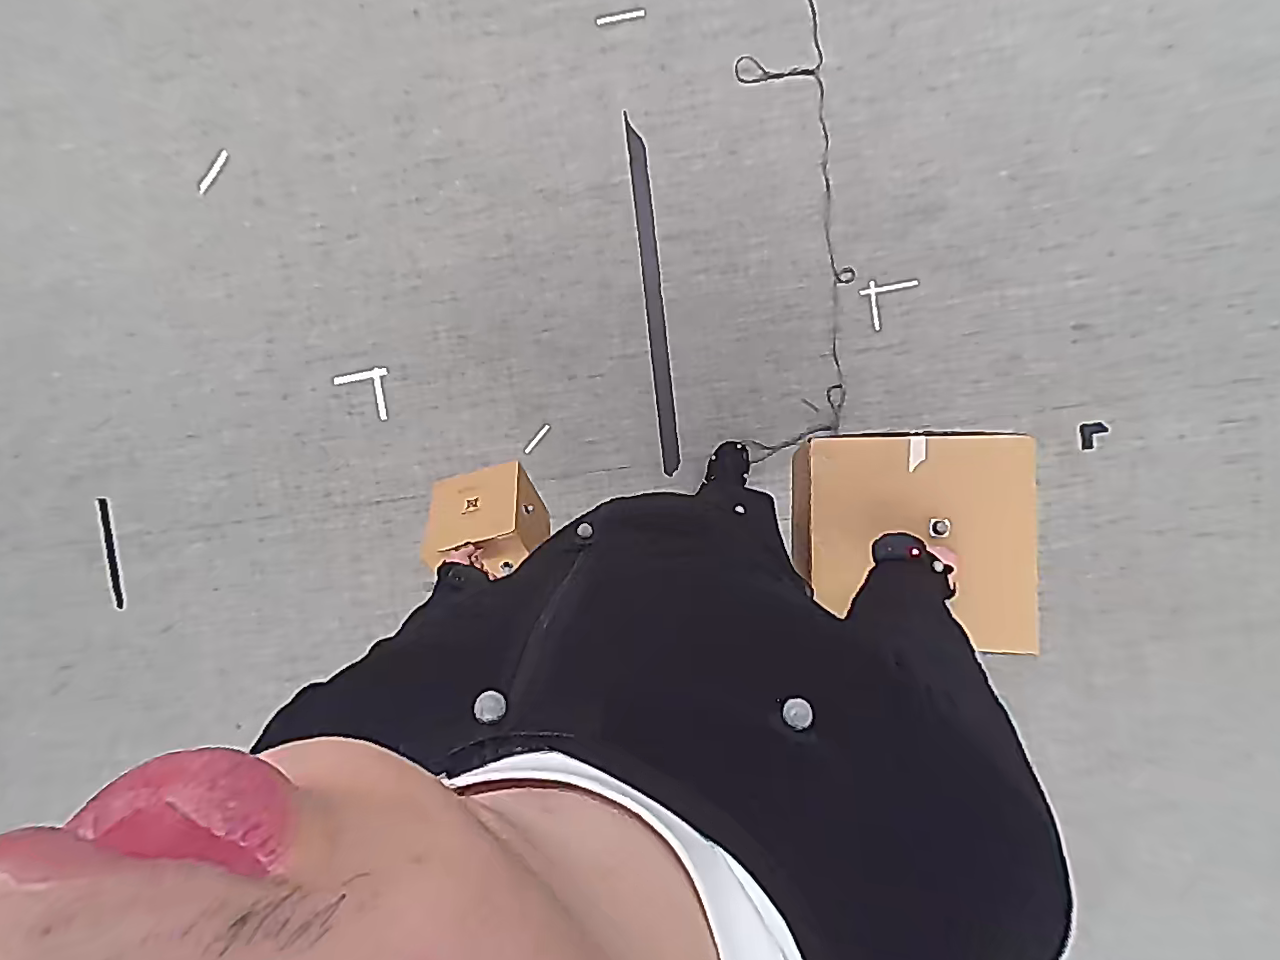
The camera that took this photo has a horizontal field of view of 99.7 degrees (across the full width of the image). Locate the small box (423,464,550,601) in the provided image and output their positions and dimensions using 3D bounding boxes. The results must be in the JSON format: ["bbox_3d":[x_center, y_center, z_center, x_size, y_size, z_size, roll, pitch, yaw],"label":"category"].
[{"bbox_3d":[-0.269,0.103,0.991,0.168,0.179,0.176,-14,134,4],"label":"small box"}]
